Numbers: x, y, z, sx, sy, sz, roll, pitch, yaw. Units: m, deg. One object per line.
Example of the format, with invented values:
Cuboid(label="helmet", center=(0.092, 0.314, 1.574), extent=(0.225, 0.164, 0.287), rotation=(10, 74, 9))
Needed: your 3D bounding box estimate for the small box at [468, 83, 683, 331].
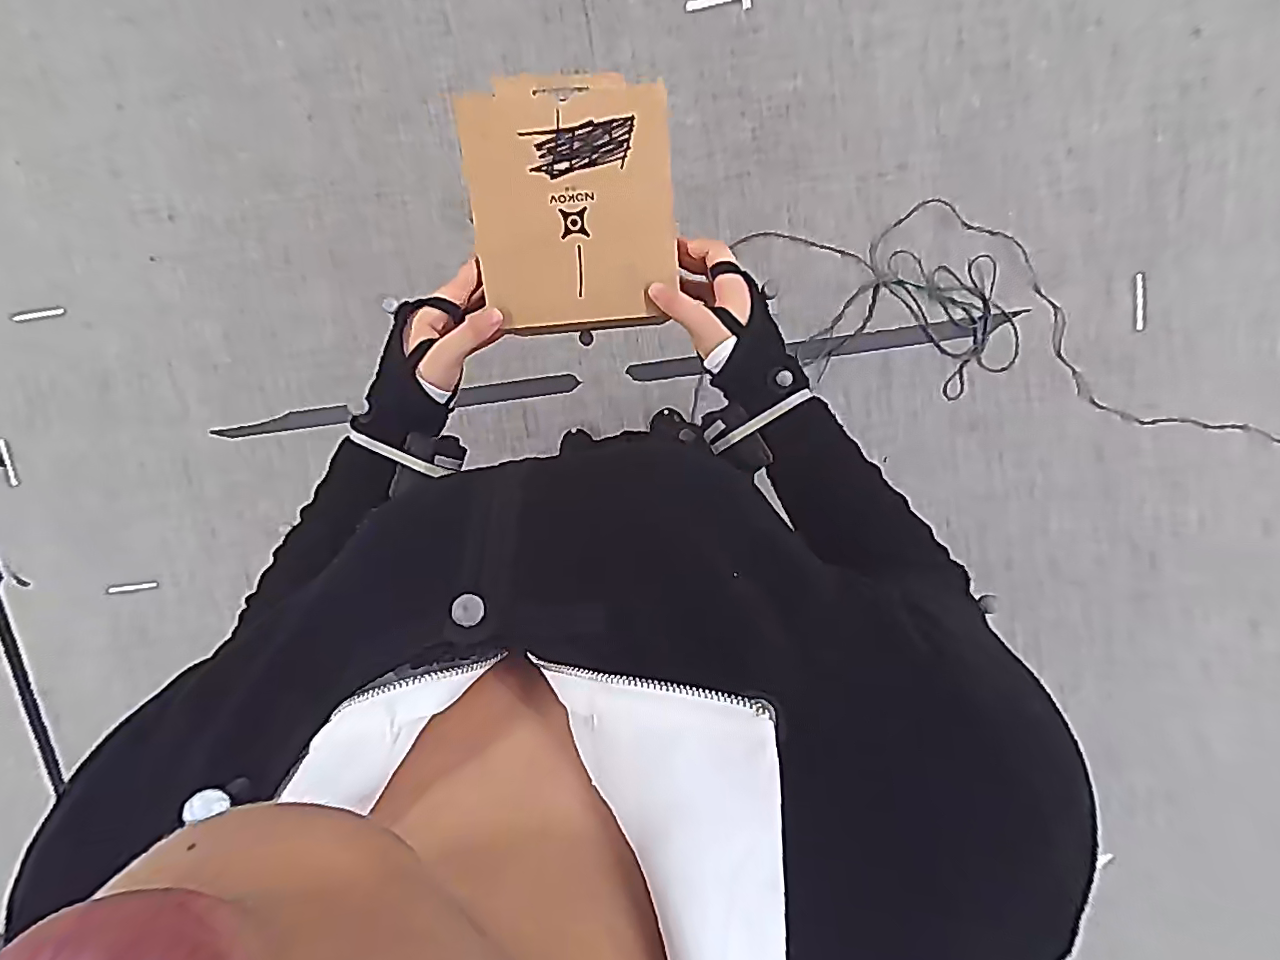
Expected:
Cuboid(label="small box", center=(-0.054, -0.243, 0.522), extent=(0.168, 0.176, 0.179), rotation=(-5, 104, -2))
